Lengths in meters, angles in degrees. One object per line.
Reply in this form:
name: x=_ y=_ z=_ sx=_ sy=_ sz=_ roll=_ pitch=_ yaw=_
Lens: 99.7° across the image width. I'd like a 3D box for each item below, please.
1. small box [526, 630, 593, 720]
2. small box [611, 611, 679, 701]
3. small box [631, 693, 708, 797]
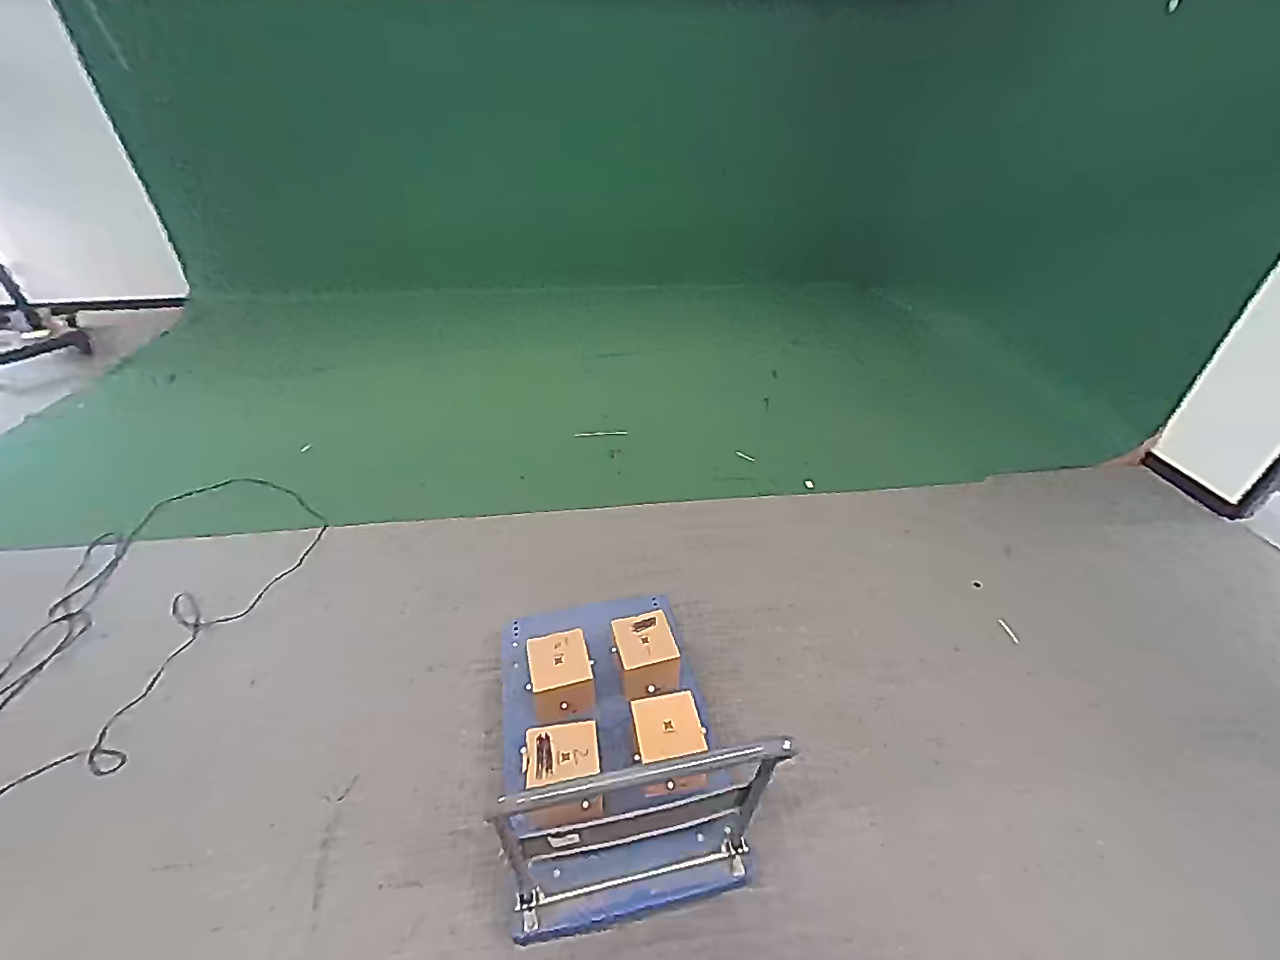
small box: x=-0.232 y=0.569 z=1.564 sx=0.168 sy=0.176 sz=0.179 roll=-9 pitch=39 yaw=-13
small box: x=0.010 y=0.527 z=1.622 sx=0.168 sy=0.176 sz=0.179 roll=-10 pitch=40 yaw=-12
small box: x=0.069 y=0.691 z=1.415 sx=0.168 sy=0.176 sz=0.179 roll=-6 pitch=39 yaw=-9
